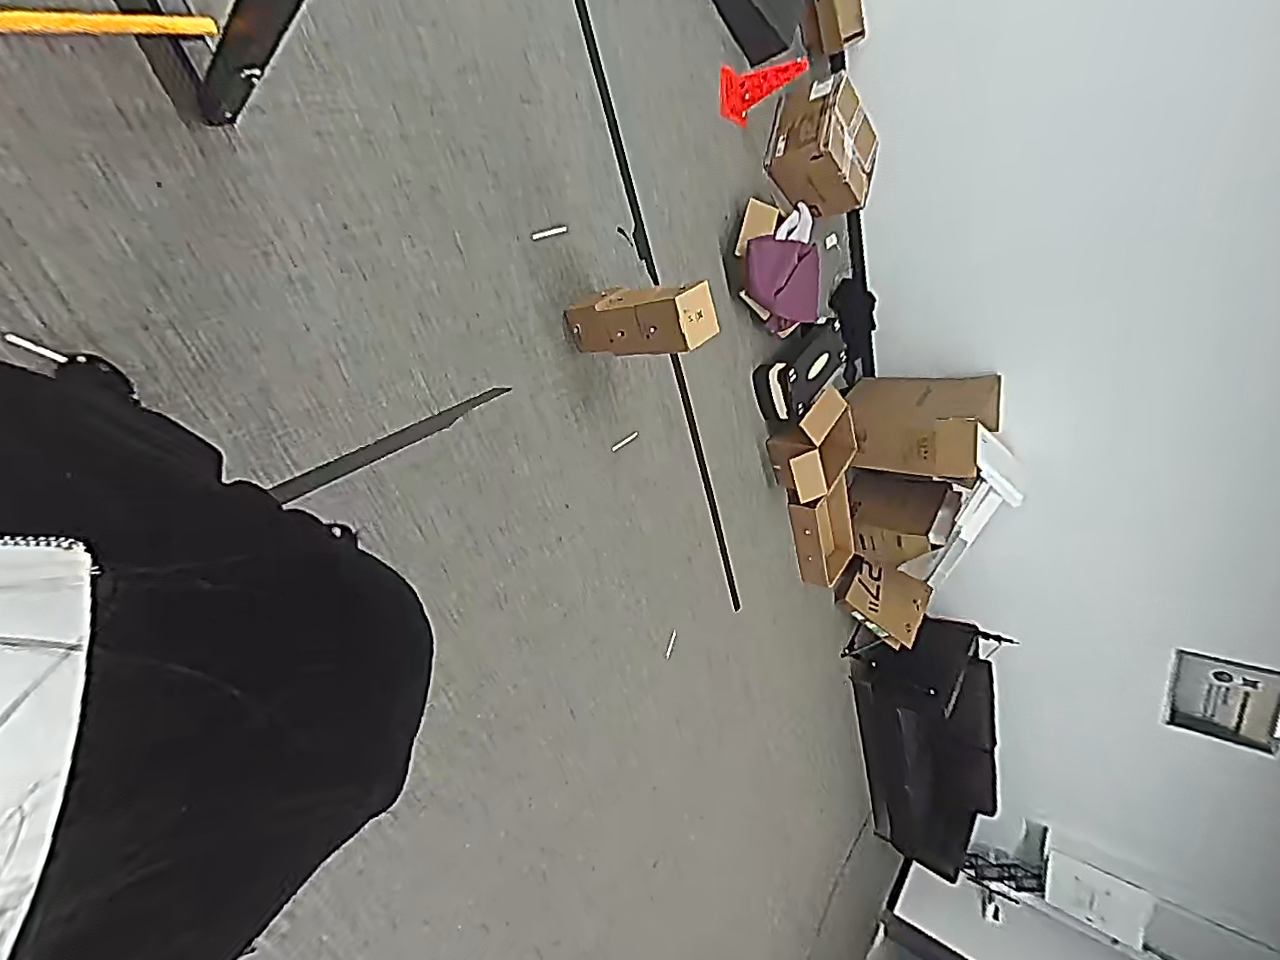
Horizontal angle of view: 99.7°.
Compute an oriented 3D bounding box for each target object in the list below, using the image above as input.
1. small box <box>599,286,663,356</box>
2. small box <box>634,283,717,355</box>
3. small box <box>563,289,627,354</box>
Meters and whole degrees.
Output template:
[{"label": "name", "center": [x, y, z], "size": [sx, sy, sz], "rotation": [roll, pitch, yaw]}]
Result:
[{"label": "small box", "center": [-0.014, -0.525, 1.803], "size": [0.179, 0.176, 0.168], "rotation": [-44, 125, -33]}, {"label": "small box", "center": [0.111, -0.503, 1.696], "size": [0.179, 0.176, 0.168], "rotation": [-39, 122, -36]}, {"label": "small box", "center": [-0.137, -0.558, 1.907], "size": [0.179, 0.176, 0.168], "rotation": [-43, 124, -33]}]
